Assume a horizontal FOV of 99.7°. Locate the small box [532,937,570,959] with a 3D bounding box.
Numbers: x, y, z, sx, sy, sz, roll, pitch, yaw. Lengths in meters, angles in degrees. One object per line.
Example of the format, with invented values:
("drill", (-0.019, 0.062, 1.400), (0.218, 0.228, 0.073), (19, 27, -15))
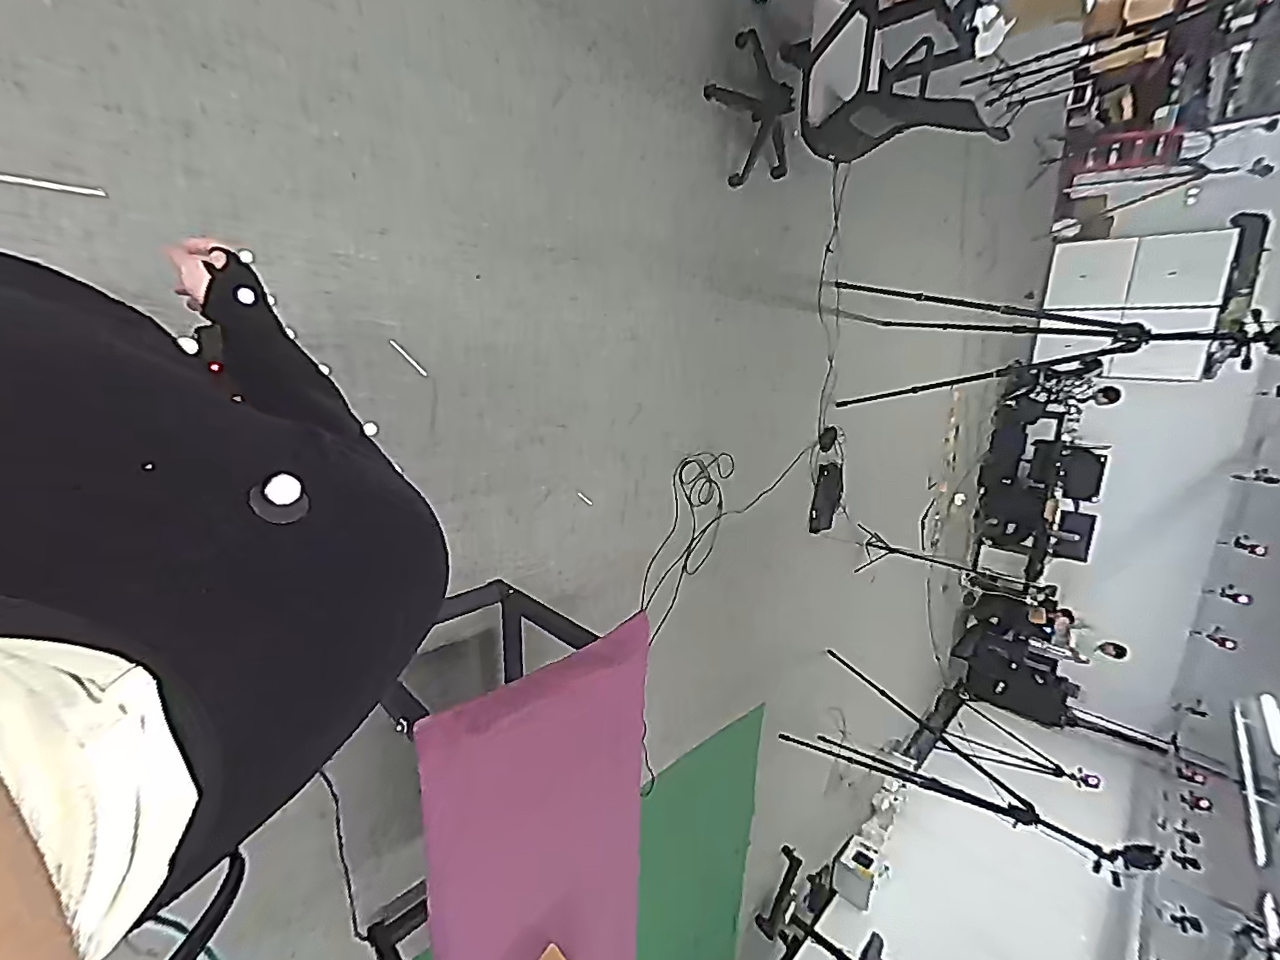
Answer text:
("small box", (-0.229, 1.365, 1.406), (0.179, 0.176, 0.168), (-35, 124, -35))
